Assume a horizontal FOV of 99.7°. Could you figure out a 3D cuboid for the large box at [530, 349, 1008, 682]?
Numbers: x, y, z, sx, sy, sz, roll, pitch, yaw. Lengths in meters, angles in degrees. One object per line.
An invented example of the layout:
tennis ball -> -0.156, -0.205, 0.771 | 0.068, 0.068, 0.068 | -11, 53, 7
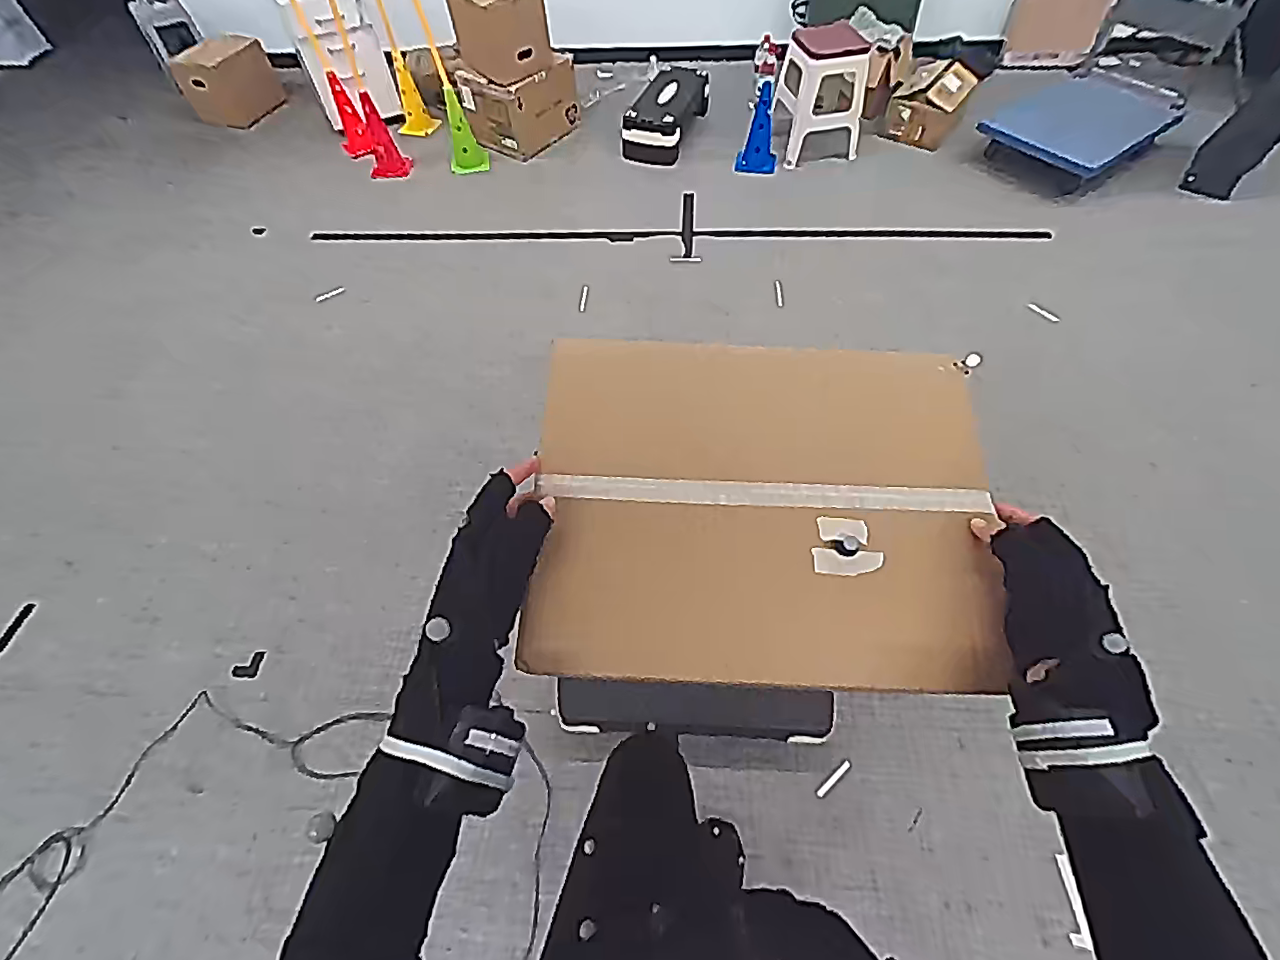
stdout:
large box -> 0.105, 0.068, 0.632 | 0.408, 0.320, 0.320 | 2, 70, 0
